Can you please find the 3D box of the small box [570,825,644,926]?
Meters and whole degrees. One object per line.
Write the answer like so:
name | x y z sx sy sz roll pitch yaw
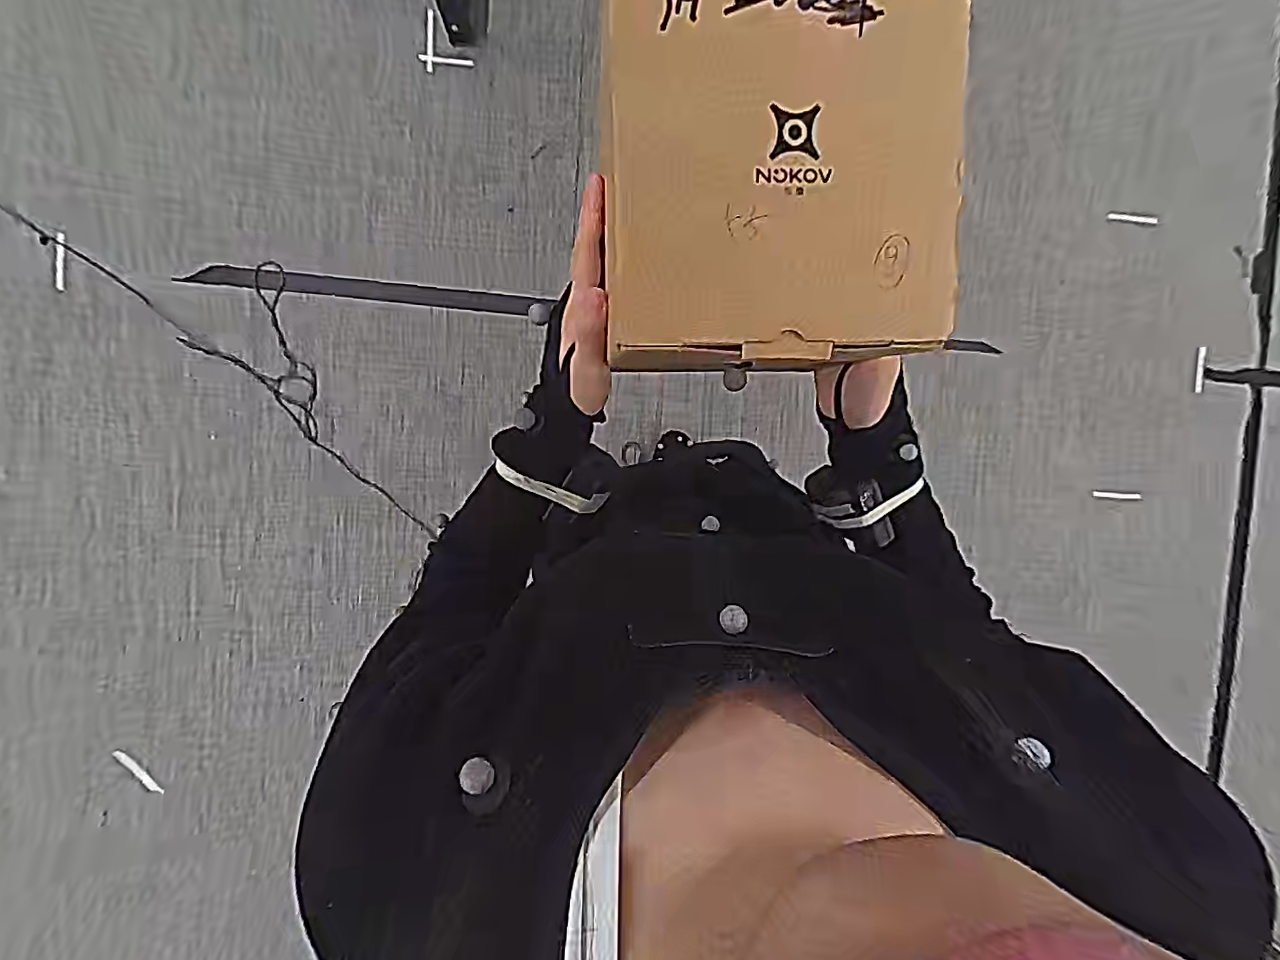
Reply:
small box | -0.091 1.057 1.448 0.179 0.176 0.168 5 93 -6

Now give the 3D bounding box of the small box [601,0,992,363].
small box | 0.064 -0.161 0.318 0.168 0.176 0.179 -2 99 -7

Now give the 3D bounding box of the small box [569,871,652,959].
small box | -0.074 1.068 1.284 0.179 0.176 0.168 6 93 -6
